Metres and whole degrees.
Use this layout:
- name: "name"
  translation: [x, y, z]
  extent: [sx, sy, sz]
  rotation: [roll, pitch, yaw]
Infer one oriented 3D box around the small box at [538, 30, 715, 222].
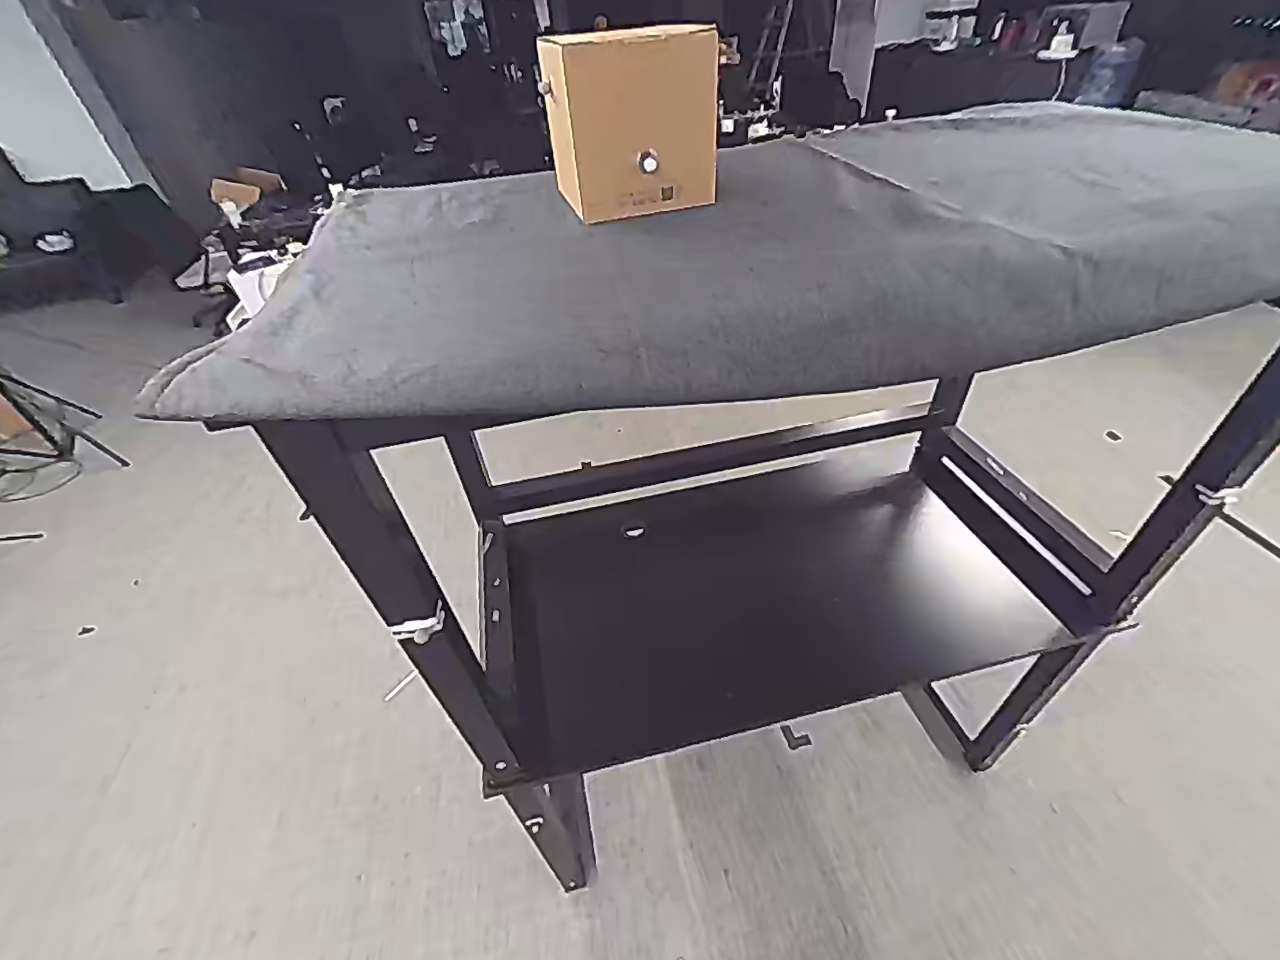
- name: "small box"
  translation: [-0.019, -0.429, 0.654]
  extent: [0.168, 0.176, 0.179]
  rotation: [-14, 43, -9]
